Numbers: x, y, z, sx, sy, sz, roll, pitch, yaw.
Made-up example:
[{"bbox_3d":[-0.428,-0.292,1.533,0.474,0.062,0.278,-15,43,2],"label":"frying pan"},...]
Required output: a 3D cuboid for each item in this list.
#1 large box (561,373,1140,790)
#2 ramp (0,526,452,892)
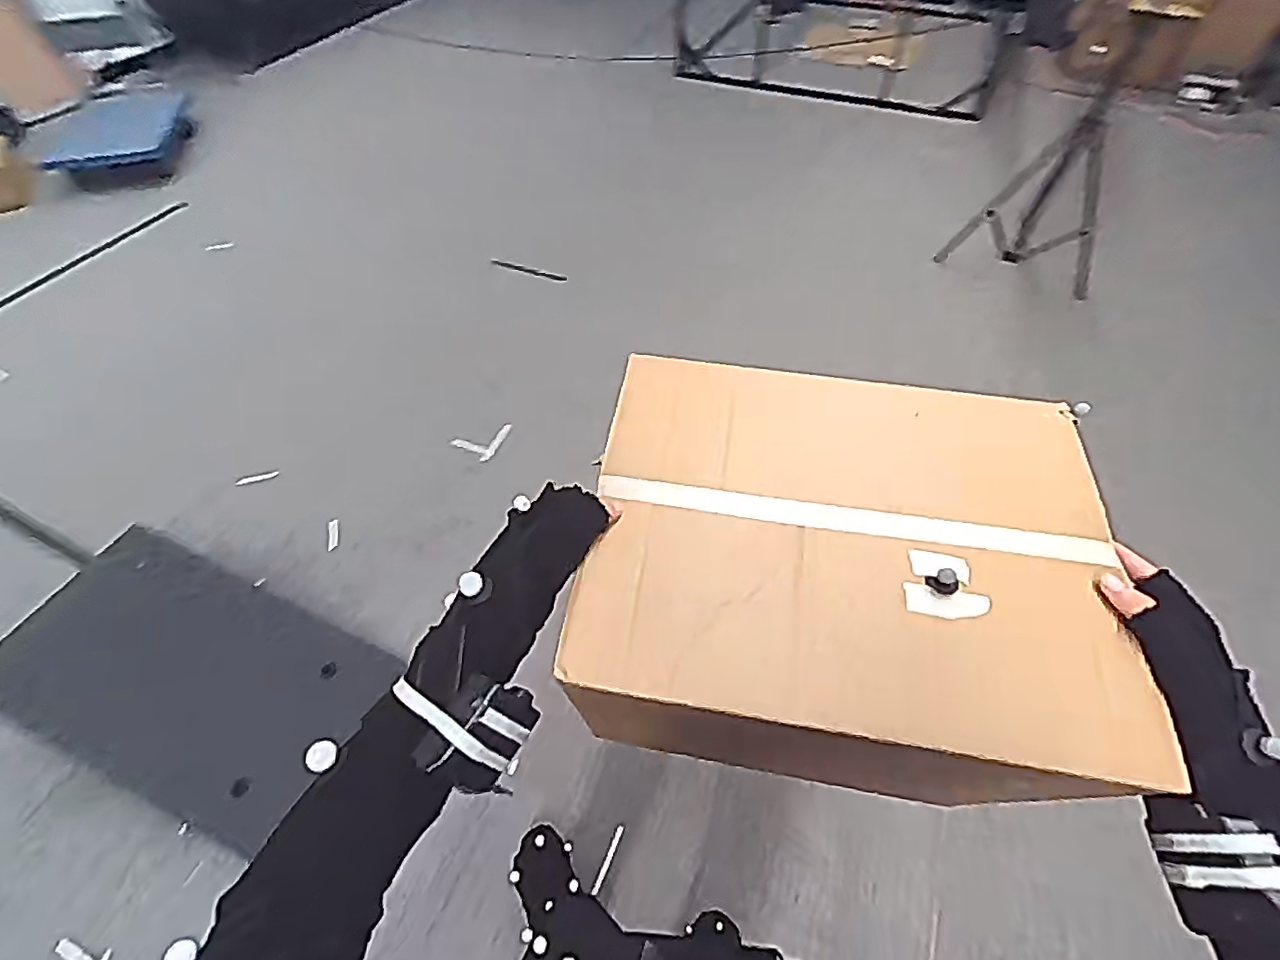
[{"bbox_3d":[0.156,0.119,0.576,0.408,0.320,0.320,7,58,5],"label":"large box"},{"bbox_3d":[-1.032,0.514,1.351,0.991,0.206,0.509,18,56,13],"label":"ramp"}]
